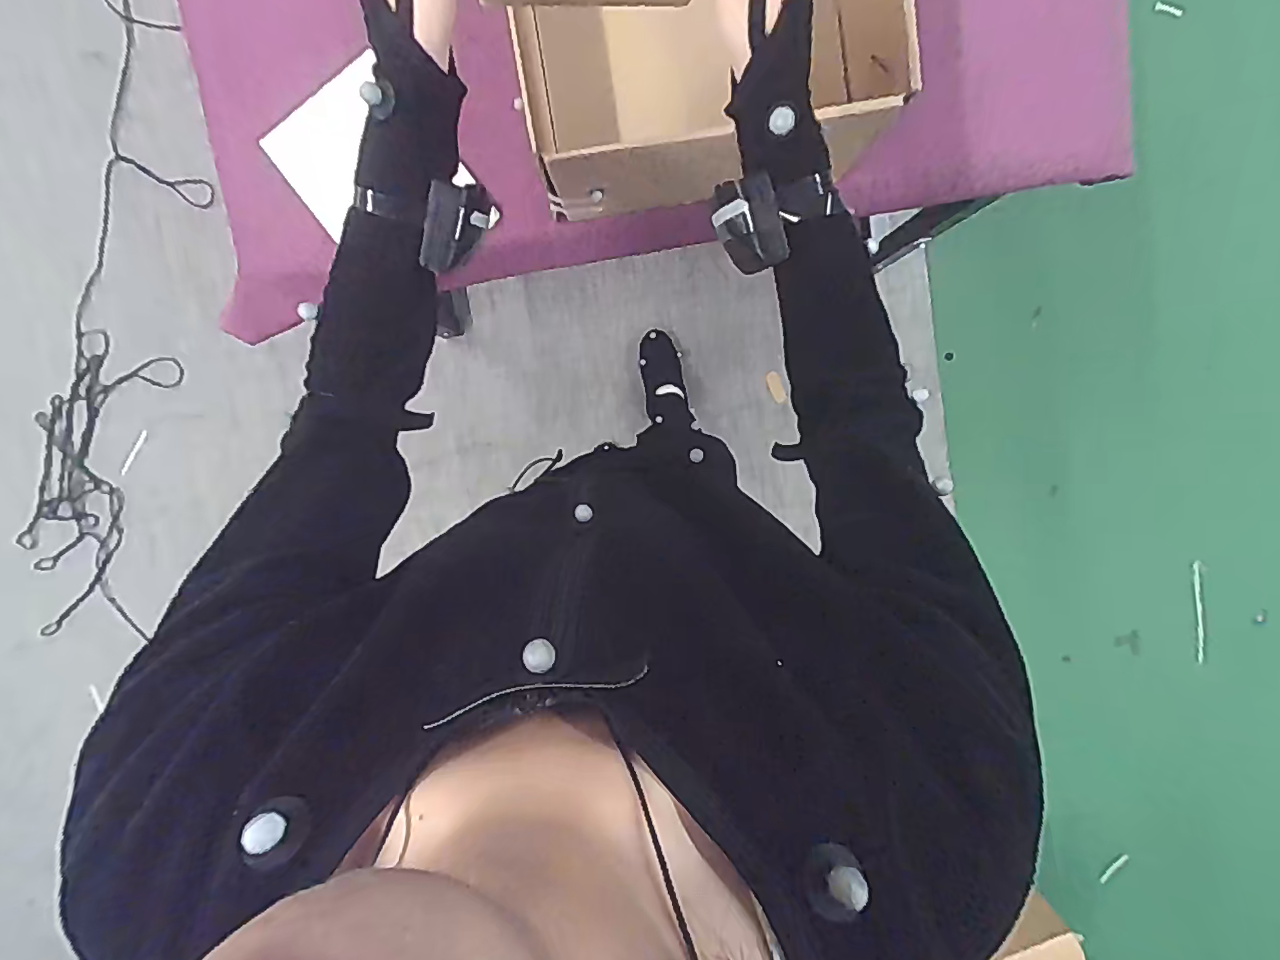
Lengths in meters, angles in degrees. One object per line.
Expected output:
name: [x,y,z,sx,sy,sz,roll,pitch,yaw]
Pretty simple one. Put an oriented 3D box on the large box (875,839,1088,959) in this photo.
large box: [0.947,1.304,1.492,0.408,0.320,0.320,-25,97,1]
